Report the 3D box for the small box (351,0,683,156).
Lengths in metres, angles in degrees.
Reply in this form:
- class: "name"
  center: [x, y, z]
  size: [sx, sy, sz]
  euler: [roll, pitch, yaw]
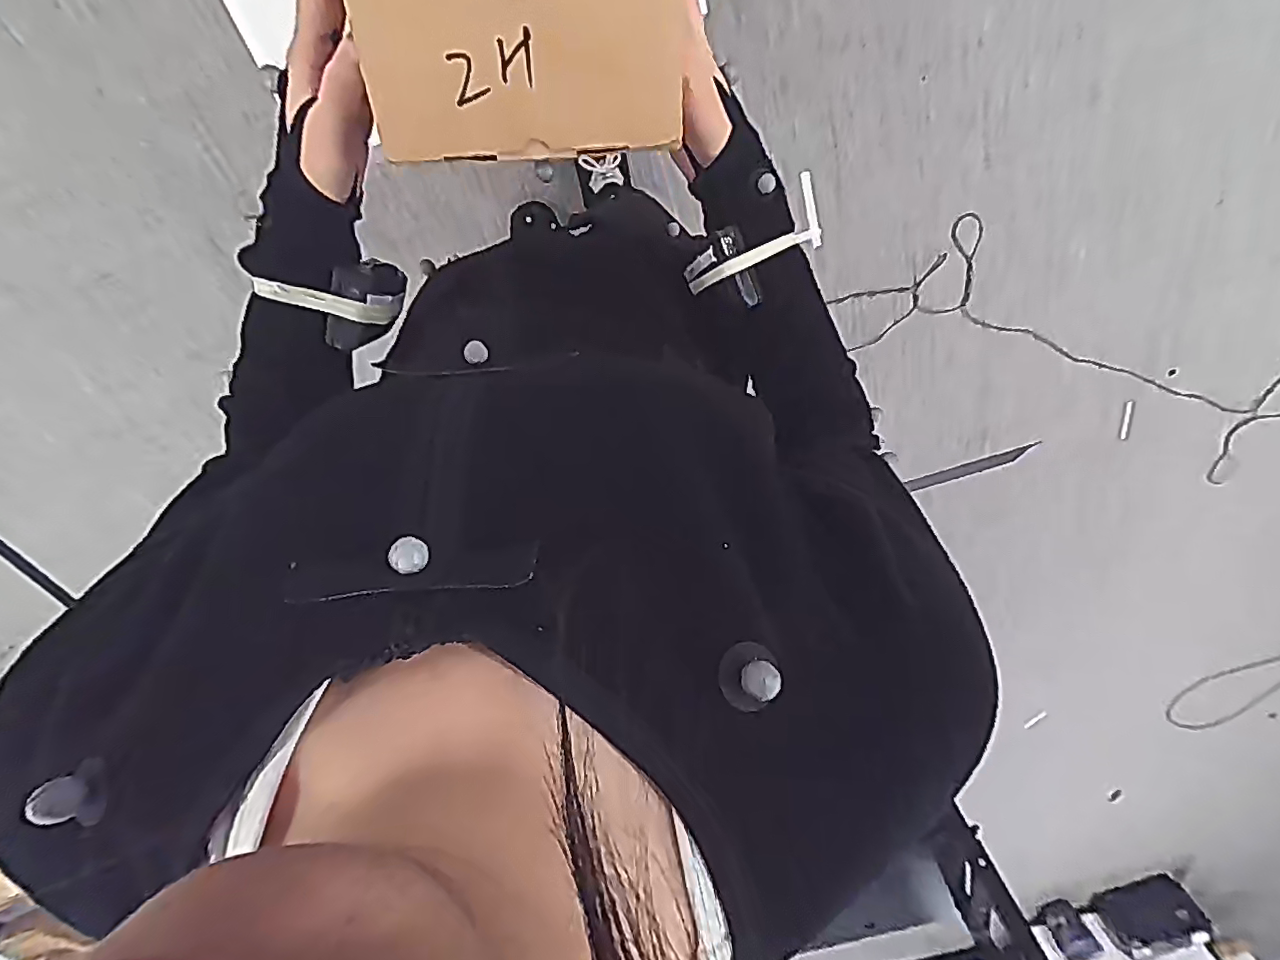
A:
- class: "small box"
  center: [-0.069, -0.300, 0.323]
  size: [0.168, 0.176, 0.179]
  euler: [-5, 121, -4]
